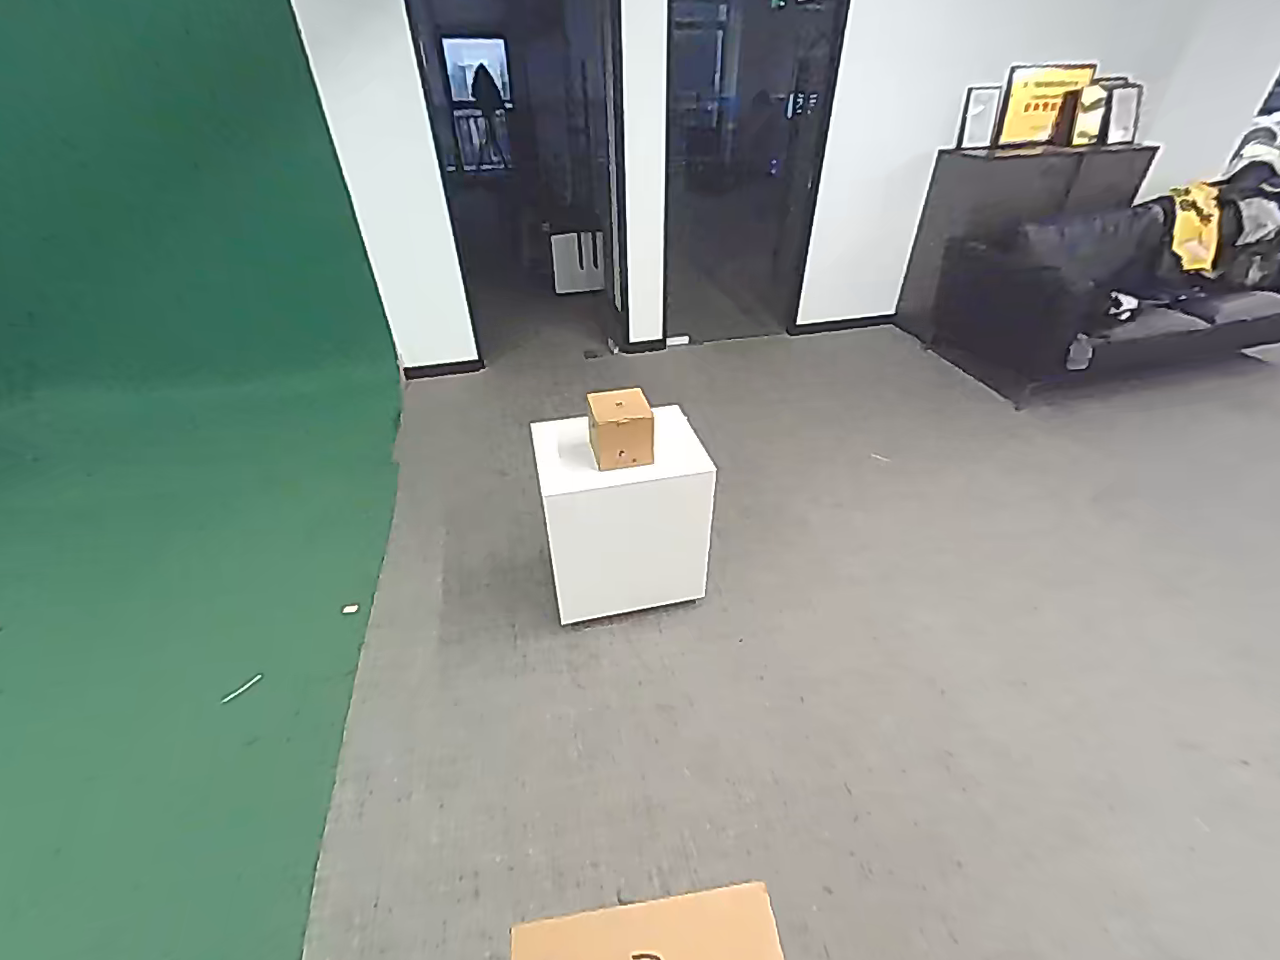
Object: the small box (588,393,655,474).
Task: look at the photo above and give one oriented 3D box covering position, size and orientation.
[{"bbox_3d":[-0.057,-0.139,1.594,0.168,0.176,0.179,-9,37,-11],"label":"small box"}]
